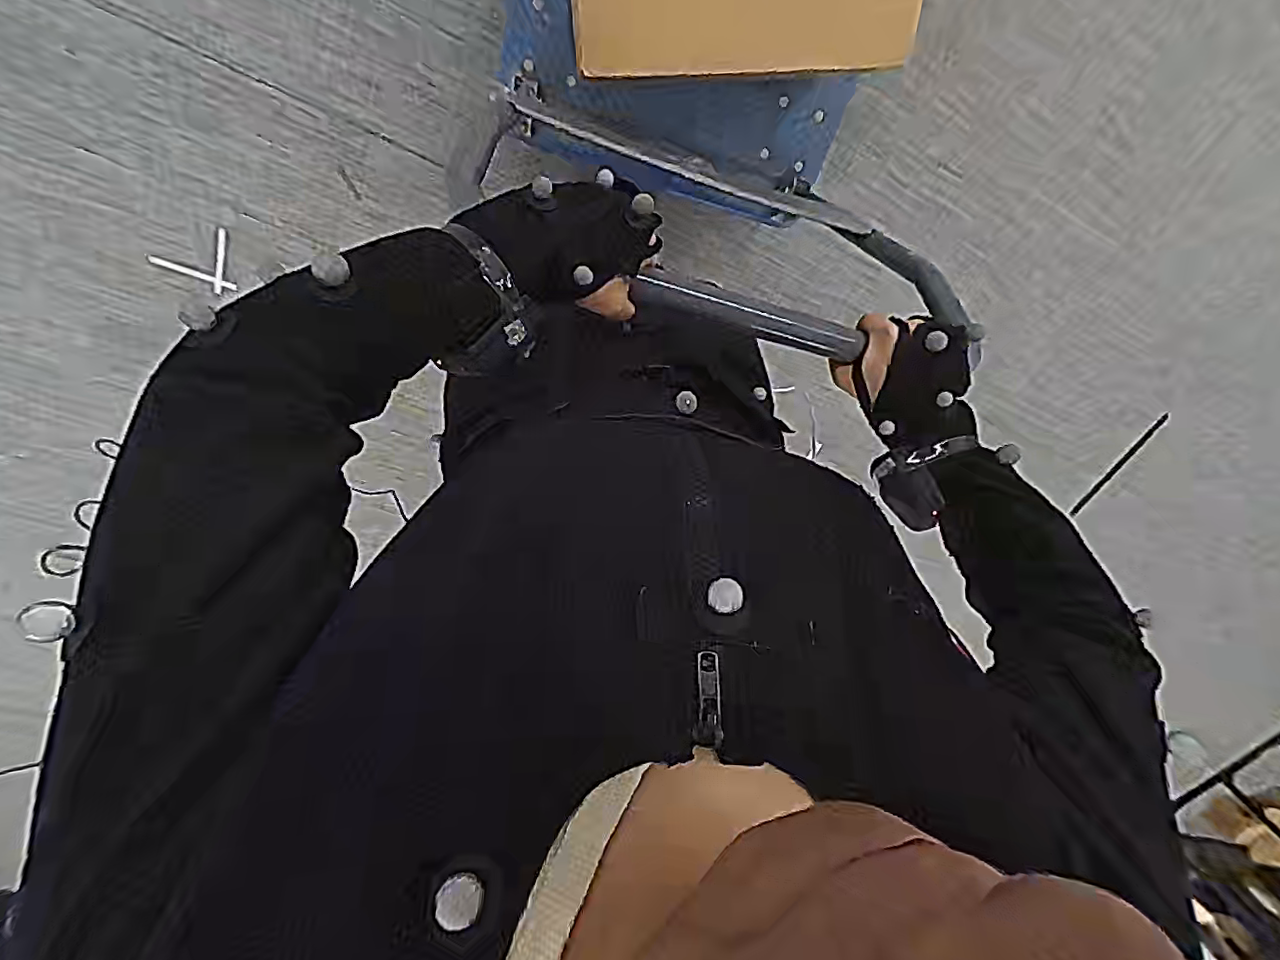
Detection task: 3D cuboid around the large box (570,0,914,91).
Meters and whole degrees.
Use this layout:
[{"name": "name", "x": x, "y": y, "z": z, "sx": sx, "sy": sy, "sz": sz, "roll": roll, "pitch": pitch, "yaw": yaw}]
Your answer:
[{"name": "large box", "x": 0.105, "y": -0.705, "z": 0.694, "sx": 0.408, "sy": 0.320, "sz": 0.320, "roll": -6, "pitch": 125, "yaw": -5}]
